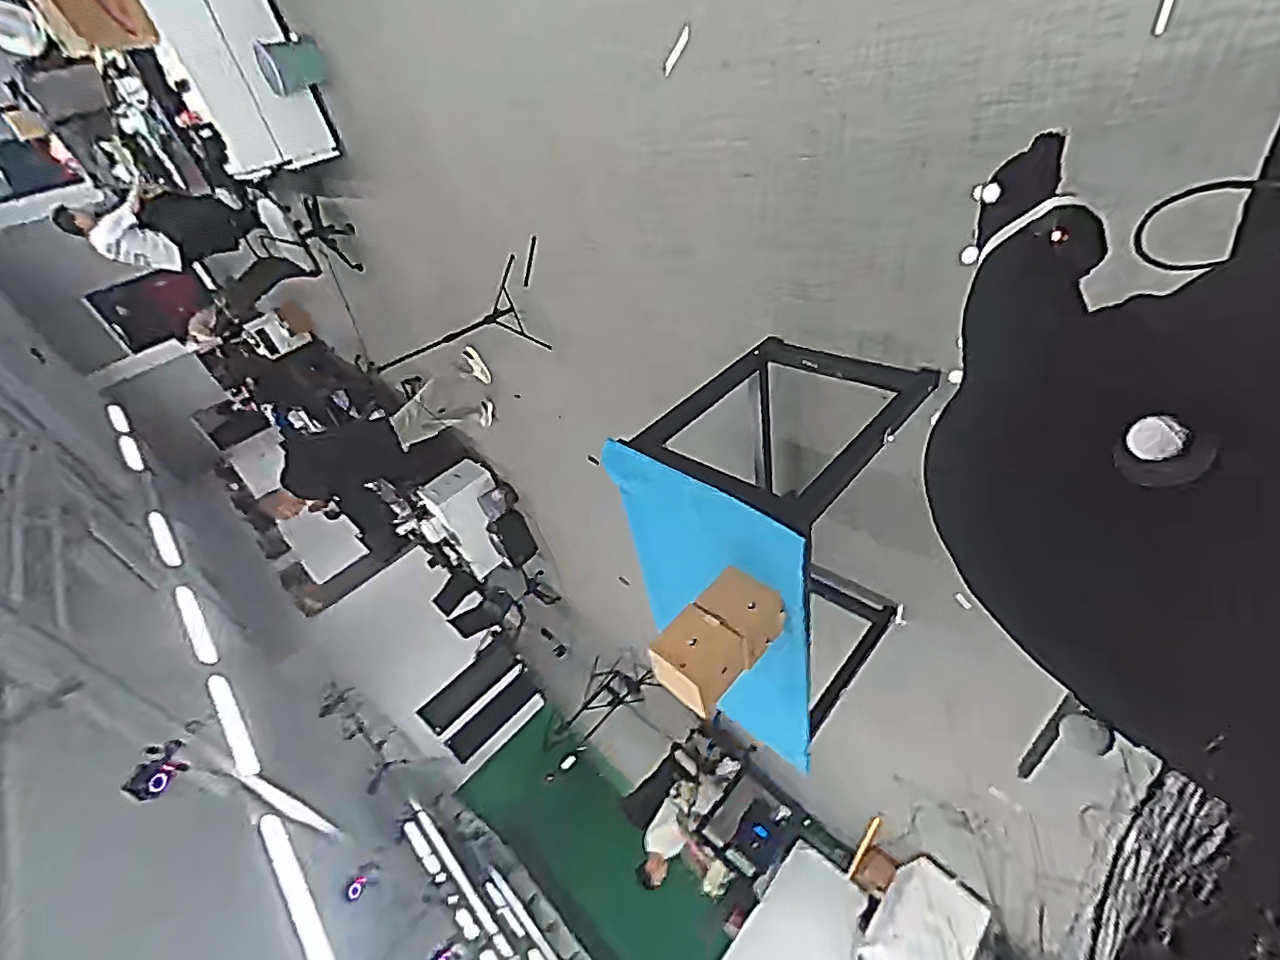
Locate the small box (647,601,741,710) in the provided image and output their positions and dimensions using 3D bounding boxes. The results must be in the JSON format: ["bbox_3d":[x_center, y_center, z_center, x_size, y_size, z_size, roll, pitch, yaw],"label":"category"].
[{"bbox_3d":[0.137,0.452,1.383,0.168,0.176,0.179,29,148,37],"label":"small box"}]

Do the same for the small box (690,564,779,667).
[{"bbox_3d":[0.255,0.368,1.460,0.179,0.176,0.168,27,144,38],"label":"small box"}]
